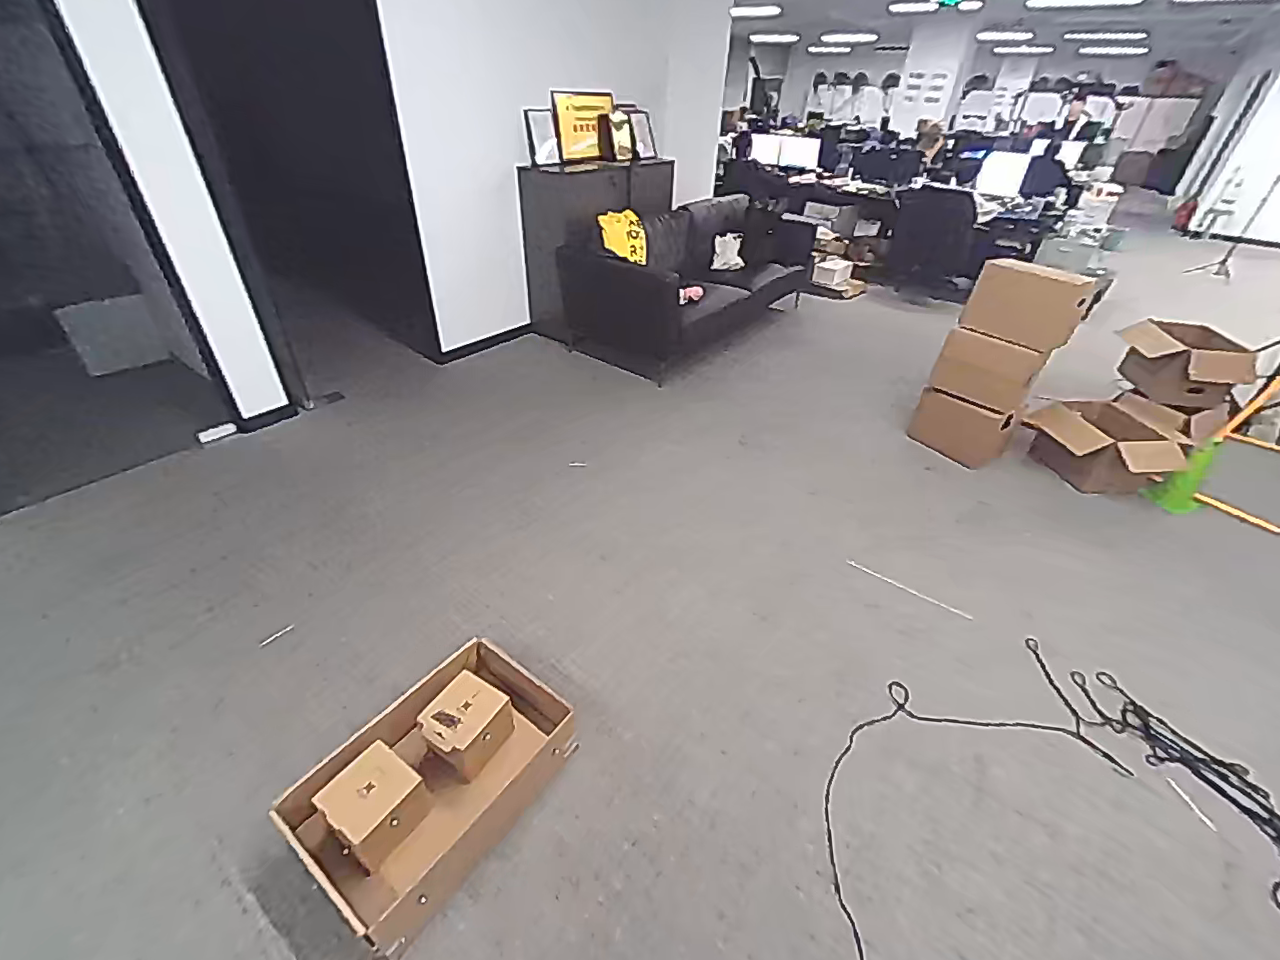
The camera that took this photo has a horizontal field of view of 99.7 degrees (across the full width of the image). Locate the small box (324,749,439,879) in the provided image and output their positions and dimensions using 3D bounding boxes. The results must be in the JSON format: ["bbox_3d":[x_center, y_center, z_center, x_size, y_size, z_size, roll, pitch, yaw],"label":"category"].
[{"bbox_3d":[-0.608,0.799,1.293,0.168,0.176,0.179,23,40,25],"label":"small box"}]

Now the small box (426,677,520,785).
[{"bbox_3d":[-0.442,0.682,1.465,0.168,0.176,0.179,20,40,23],"label":"small box"}]
